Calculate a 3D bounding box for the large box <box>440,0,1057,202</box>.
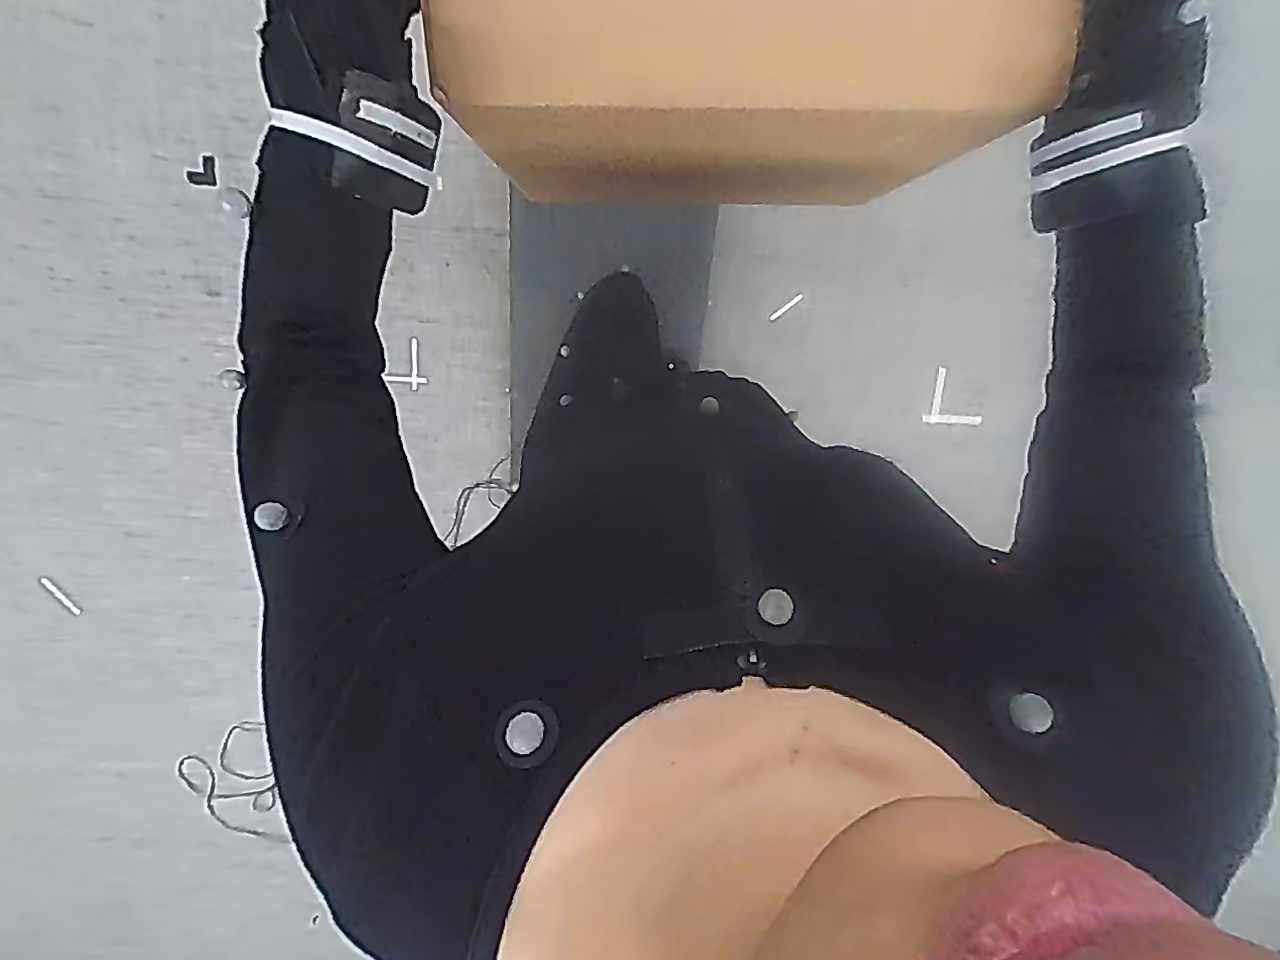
[{"bbox_3d":[0.066,-0.441,0.460,0.408,0.320,0.320,0,107,-1],"label":"large box"}]
